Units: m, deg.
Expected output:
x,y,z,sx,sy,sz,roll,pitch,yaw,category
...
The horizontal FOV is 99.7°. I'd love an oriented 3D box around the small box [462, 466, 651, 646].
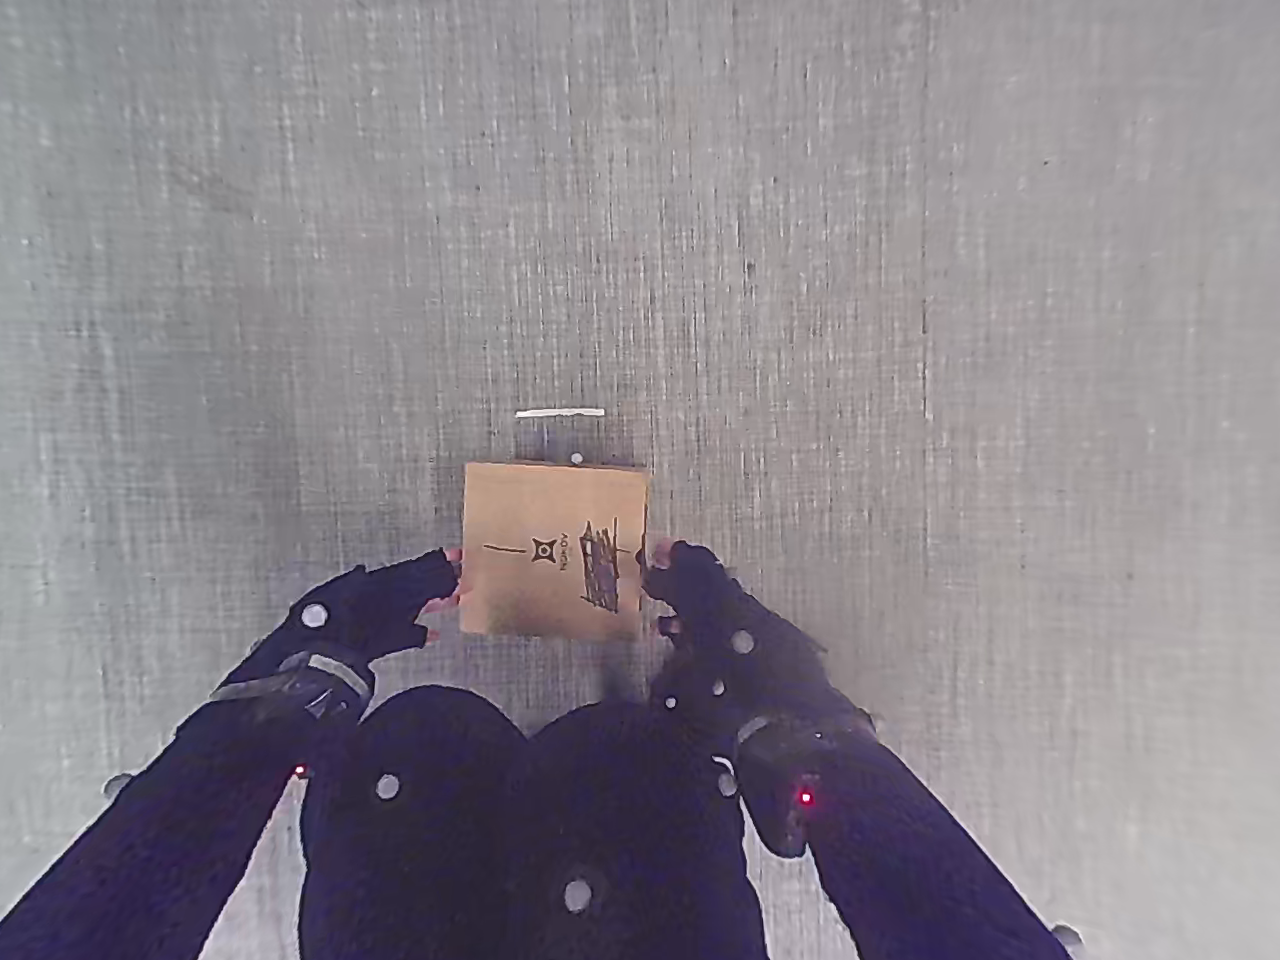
x,y,z,sx,sy,sz,roll,pitch,yaw,category
-0.079,0.072,0.598,0.179,0.176,0.168,3,92,2,small box
